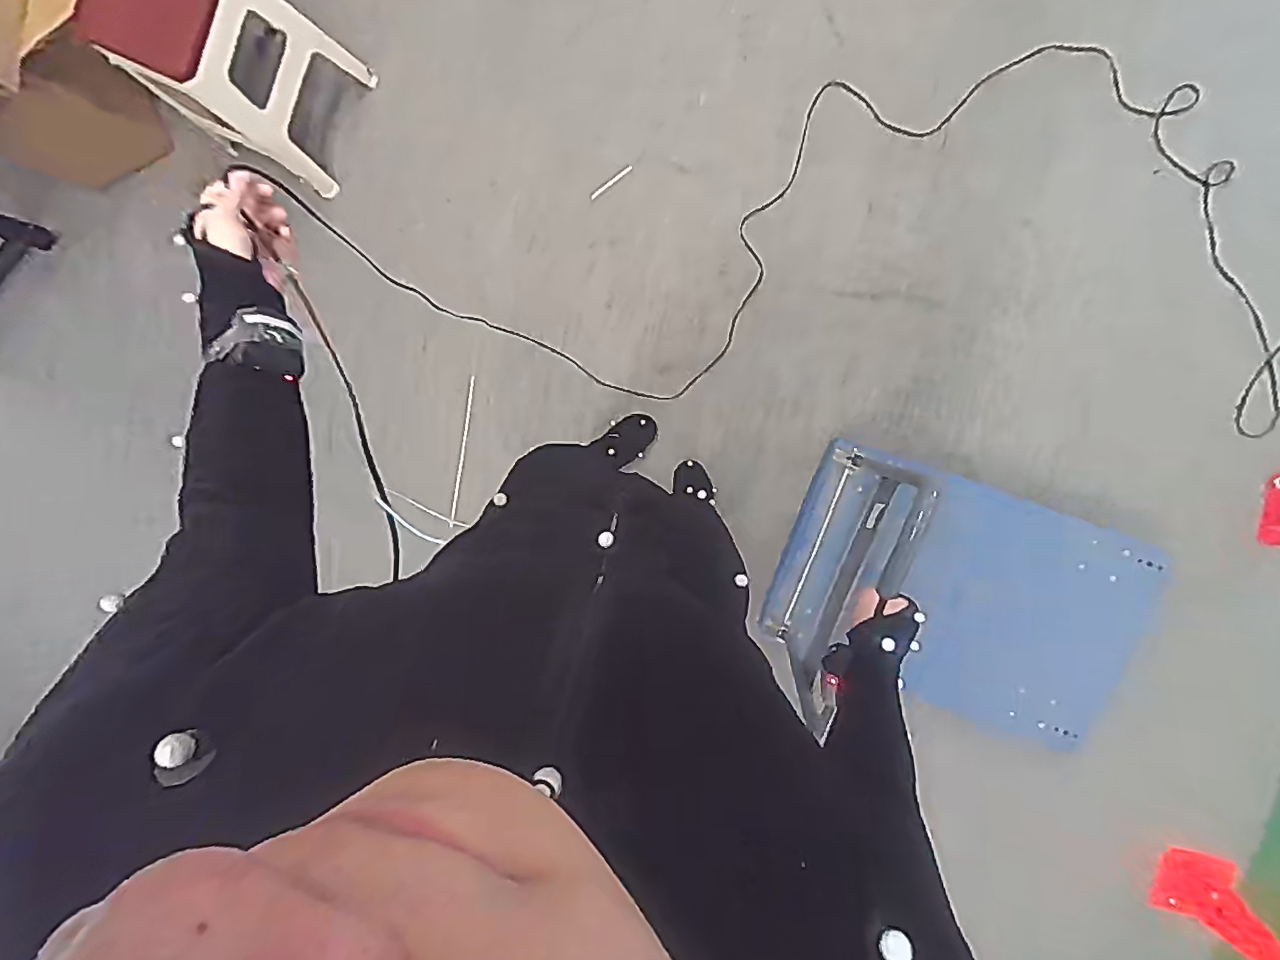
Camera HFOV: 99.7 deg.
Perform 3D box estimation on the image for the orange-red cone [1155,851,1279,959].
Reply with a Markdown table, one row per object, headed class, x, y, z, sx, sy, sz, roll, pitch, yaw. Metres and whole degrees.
| class | x | y | z | sx | sy | sz | roll | pitch | yaw |
| --- | --- | --- | --- | --- | --- | --- | --- | --- | --- |
| orange-red cone | 1.603 | 1.195 | 1.393 | 0.199 | 0.360 | 0.198 | 12 | 98 | 3 |
